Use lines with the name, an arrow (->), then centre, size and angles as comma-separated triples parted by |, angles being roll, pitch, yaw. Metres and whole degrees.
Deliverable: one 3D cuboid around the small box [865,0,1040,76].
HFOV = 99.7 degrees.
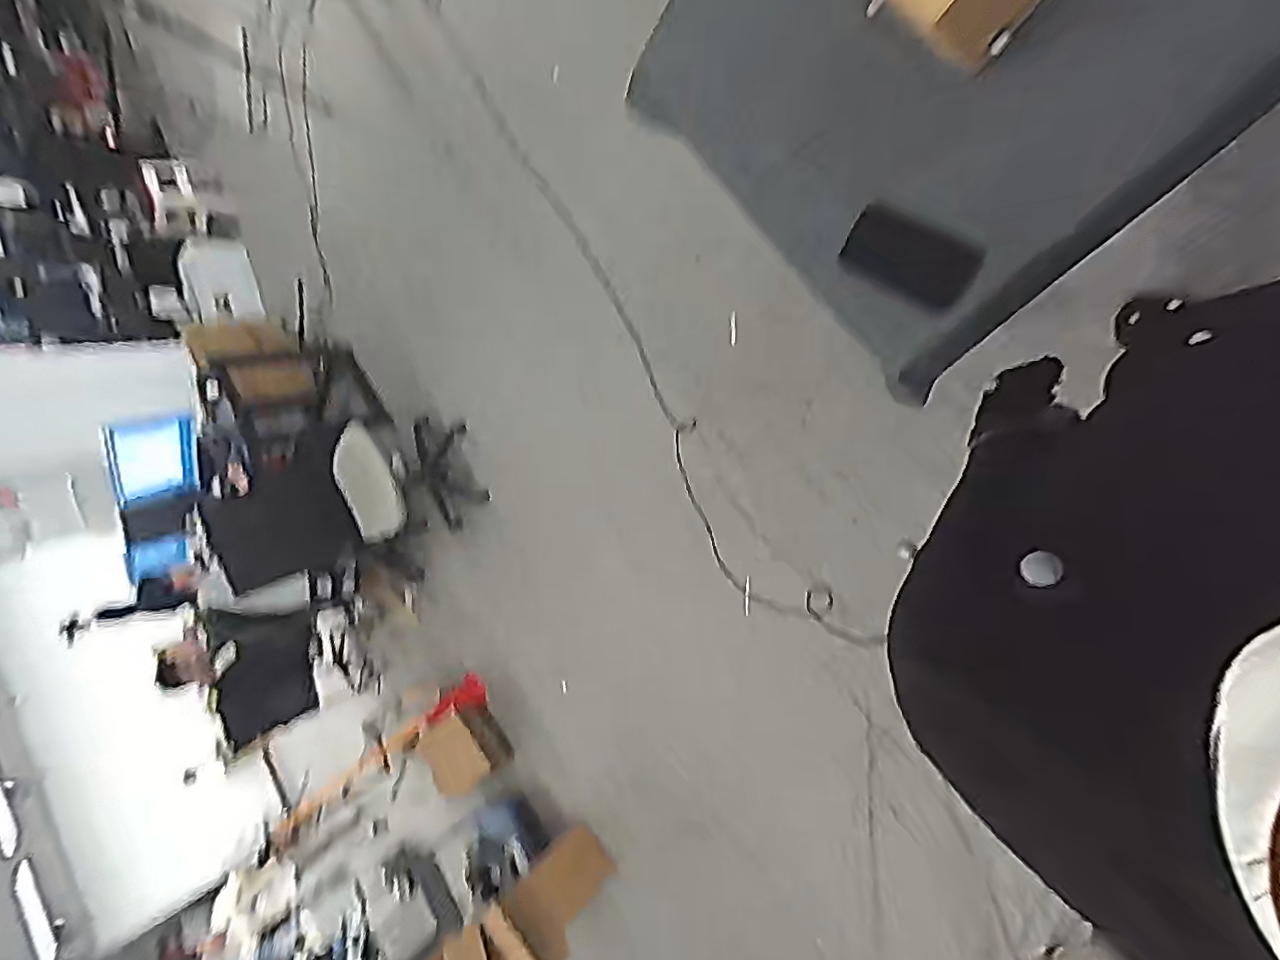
small box -> 0.296, -0.511, 0.492 | 0.179, 0.176, 0.168 | 55, 131, 14
